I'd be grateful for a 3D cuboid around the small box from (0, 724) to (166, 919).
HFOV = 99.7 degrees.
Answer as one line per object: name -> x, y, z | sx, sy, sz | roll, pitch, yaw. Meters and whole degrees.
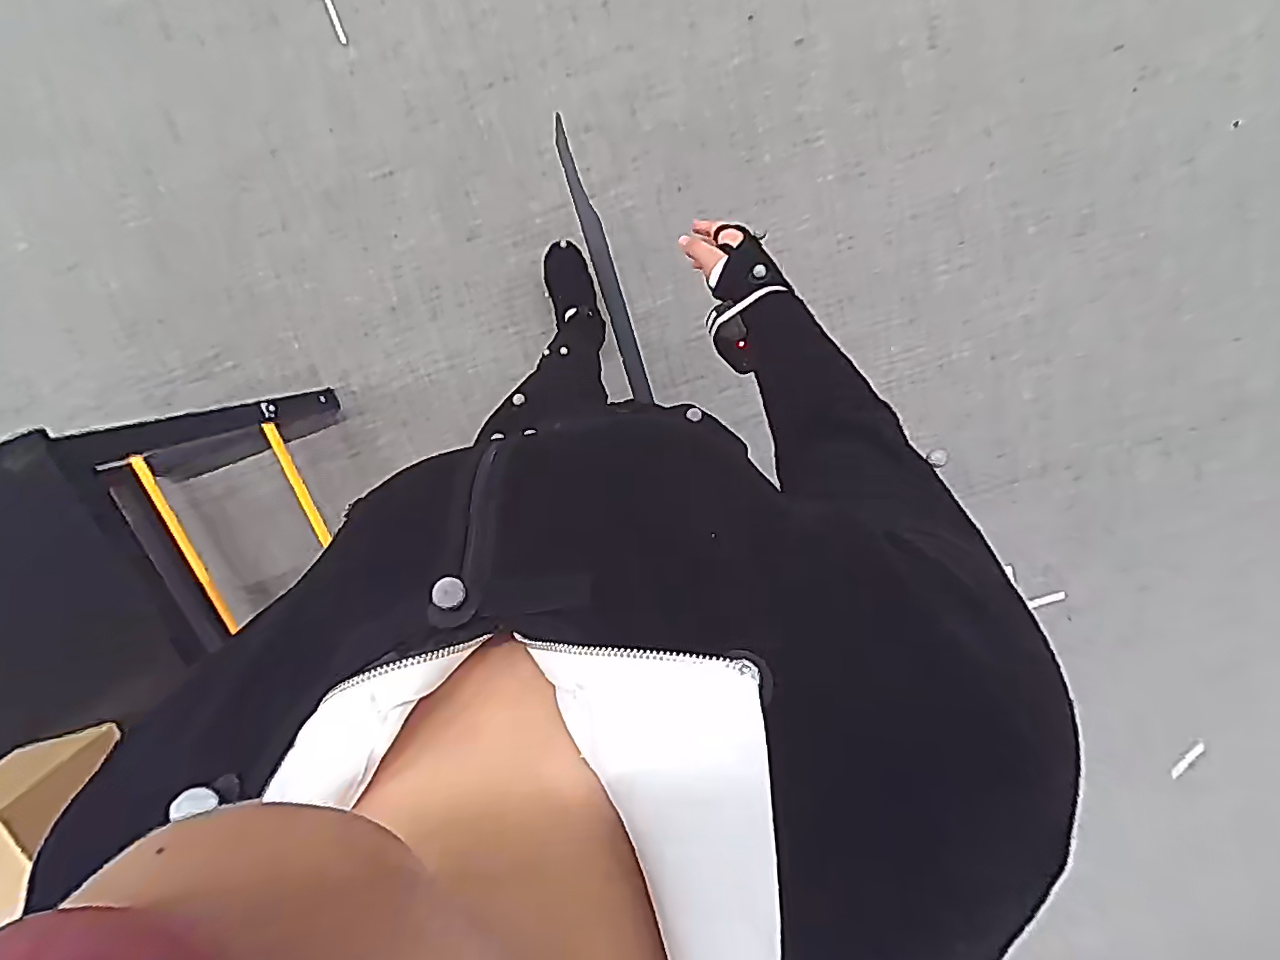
small box -> -0.872, 0.494, 0.792 | 0.179, 0.176, 0.168 | -17, 105, 4
